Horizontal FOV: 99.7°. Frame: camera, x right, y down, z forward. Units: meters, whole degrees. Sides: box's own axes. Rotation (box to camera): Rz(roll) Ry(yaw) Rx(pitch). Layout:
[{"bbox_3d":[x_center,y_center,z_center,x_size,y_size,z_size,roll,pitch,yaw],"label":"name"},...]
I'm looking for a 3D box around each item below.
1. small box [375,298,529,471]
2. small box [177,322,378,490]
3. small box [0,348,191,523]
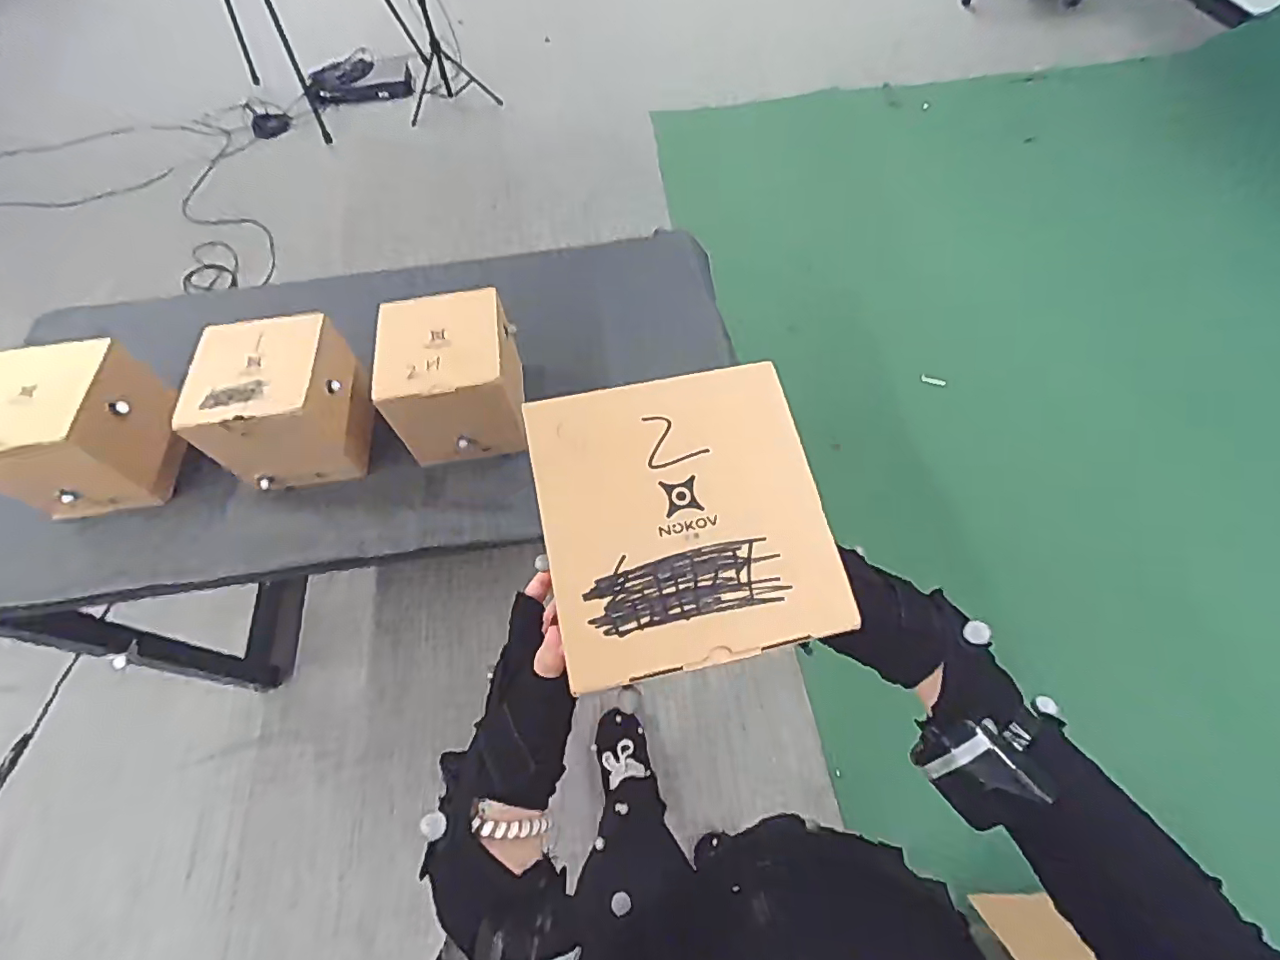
[{"bbox_3d":[-0.263,-0.136,0.795,0.168,0.176,0.179,-9,60,-3],"label":"small box"},{"bbox_3d":[-0.503,-0.098,0.783,0.168,0.176,0.179,-8,60,-2],"label":"small box"},{"bbox_3d":[-0.789,-0.060,0.772,0.168,0.176,0.179,-9,60,-4],"label":"small box"}]
